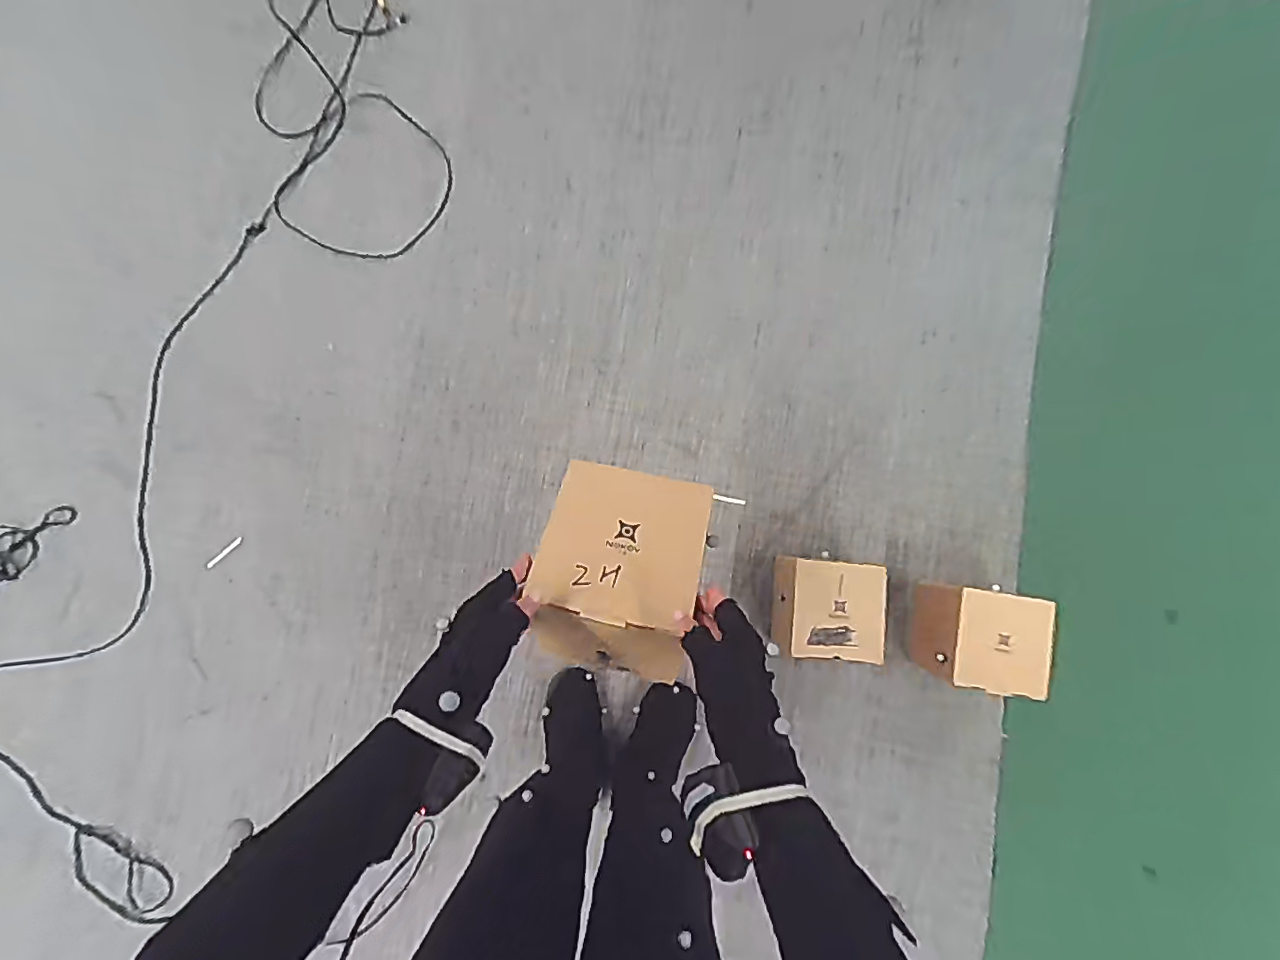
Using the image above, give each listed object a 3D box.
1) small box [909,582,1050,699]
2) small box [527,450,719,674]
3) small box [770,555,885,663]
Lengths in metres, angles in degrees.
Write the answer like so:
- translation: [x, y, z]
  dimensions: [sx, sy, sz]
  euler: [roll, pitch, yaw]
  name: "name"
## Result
- translation: [0.643, 0.297, 1.041]
  dimensions: [0.168, 0.176, 0.179]
  euler: [9, 84, 3]
  name: "small box"
- translation: [-0.015, 0.096, 0.616]
  dimensions: [0.168, 0.176, 0.179]
  euler: [12, 56, 6]
  name: "small box"
- translation: [0.355, 0.242, 1.052]
  dimensions: [0.168, 0.176, 0.179]
  euler: [5, 83, 1]
  name: "small box"
